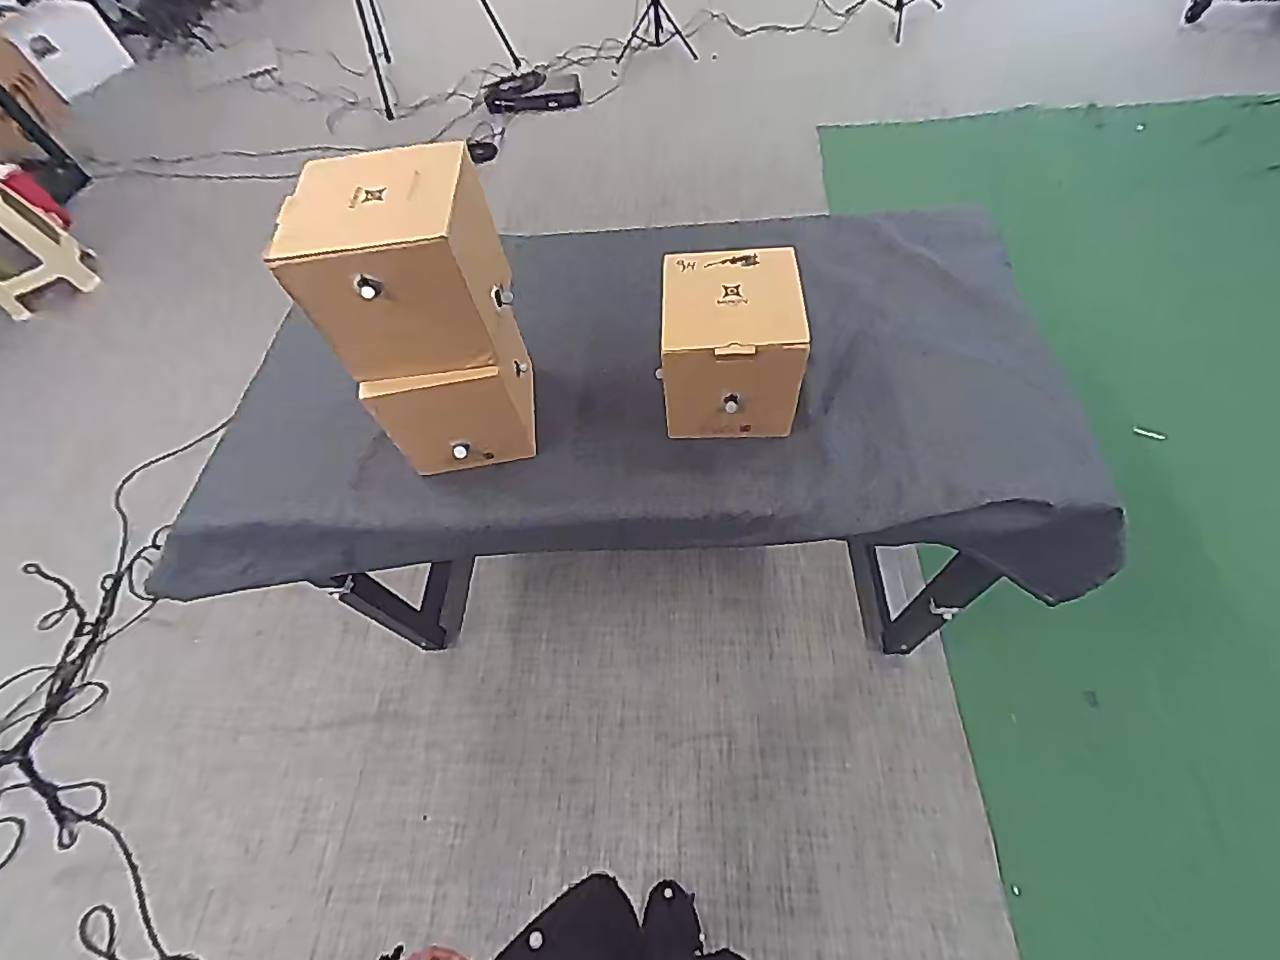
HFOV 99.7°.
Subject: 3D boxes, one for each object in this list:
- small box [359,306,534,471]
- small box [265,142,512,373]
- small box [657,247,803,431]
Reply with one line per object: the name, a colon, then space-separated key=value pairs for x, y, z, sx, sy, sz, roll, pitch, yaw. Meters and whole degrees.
small box: x=-0.244 y=-0.136 z=0.726 sx=0.168 sy=0.176 sz=0.179 roll=-10 pitch=58 yaw=0
small box: x=-0.254 y=-0.235 z=0.597 sx=0.179 sy=0.176 sz=0.168 roll=-6 pitch=59 yaw=1
small box: x=0.114 y=-0.176 z=0.714 sx=0.168 sy=0.176 sz=0.179 roll=-1 pitch=59 yaw=6
